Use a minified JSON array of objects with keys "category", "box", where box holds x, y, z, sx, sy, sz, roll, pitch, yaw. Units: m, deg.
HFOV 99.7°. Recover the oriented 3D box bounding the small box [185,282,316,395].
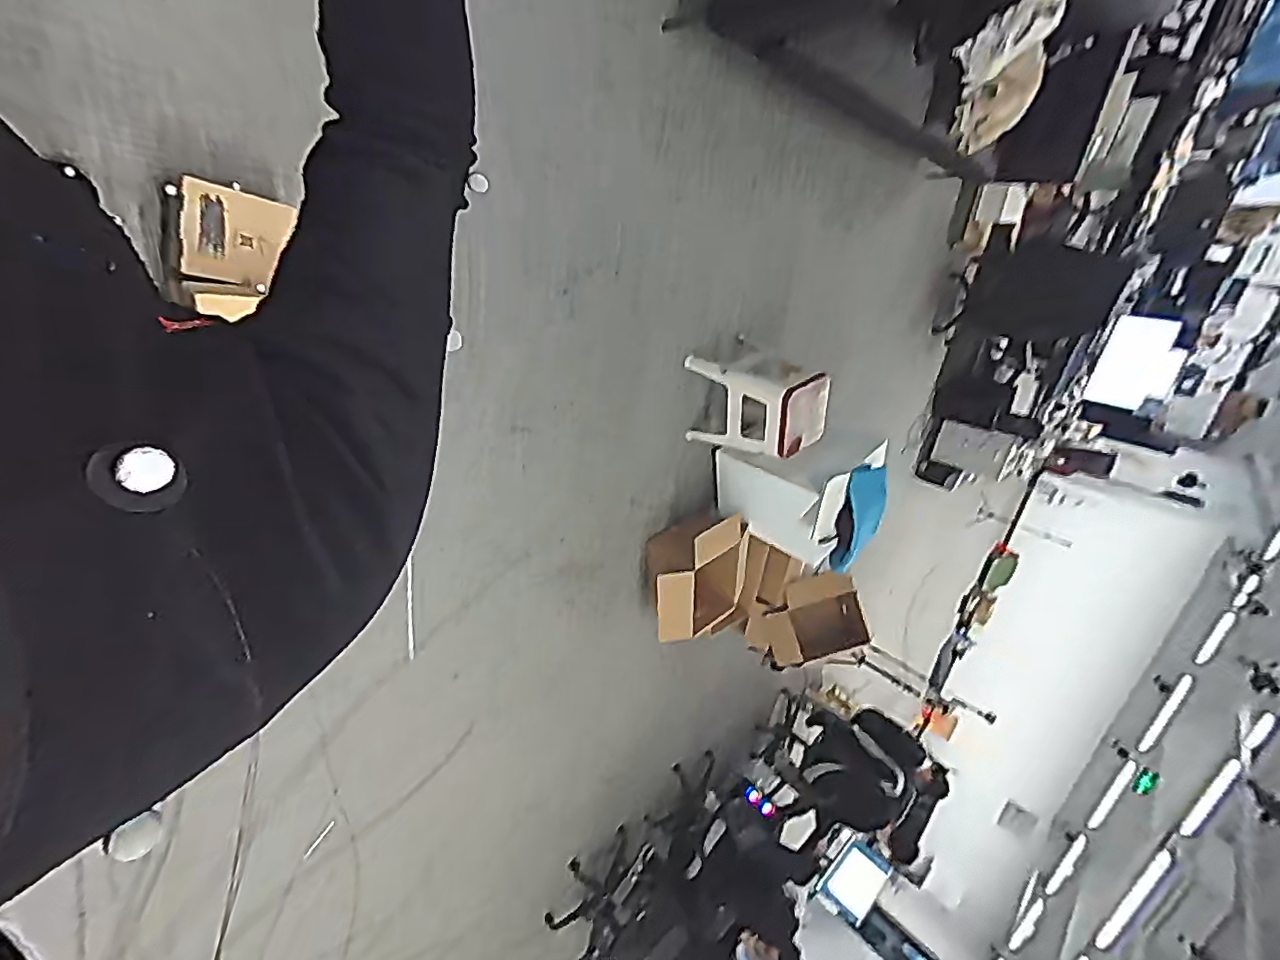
[{"category":"small box","box":[-0.725,-0.267,1.010,0.168,0.176,0.179,-12,120,-42]}]
